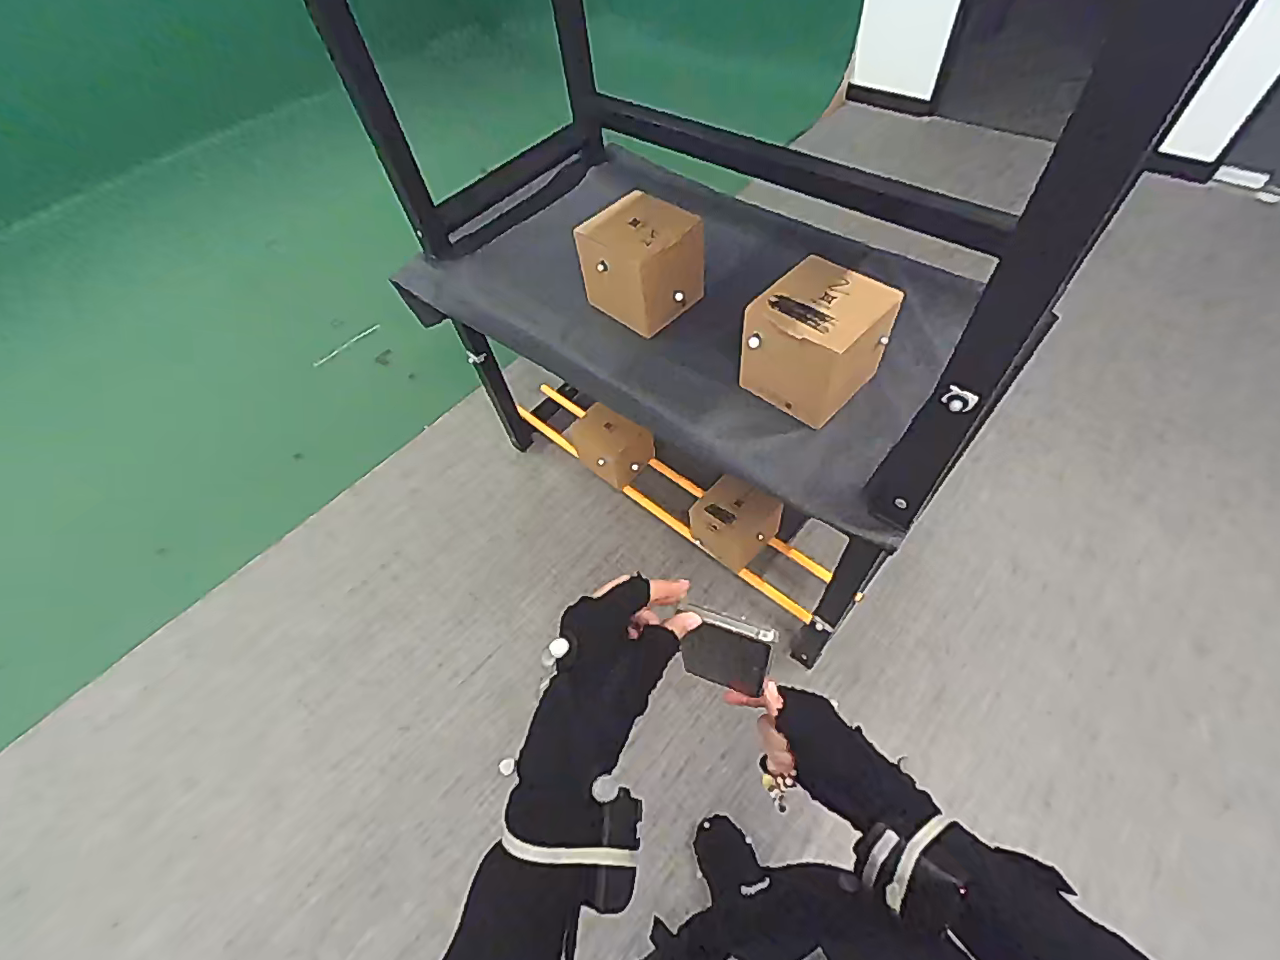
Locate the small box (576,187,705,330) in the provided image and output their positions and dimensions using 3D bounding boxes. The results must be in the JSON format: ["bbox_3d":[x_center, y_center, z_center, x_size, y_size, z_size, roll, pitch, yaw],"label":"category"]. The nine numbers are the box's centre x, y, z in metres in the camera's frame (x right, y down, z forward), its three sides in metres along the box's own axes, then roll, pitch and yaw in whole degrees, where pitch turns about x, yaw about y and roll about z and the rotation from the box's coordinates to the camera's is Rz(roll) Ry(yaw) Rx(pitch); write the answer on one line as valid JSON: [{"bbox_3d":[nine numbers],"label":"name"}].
[{"bbox_3d":[0.006,-0.418,1.033,0.168,0.176,0.179,-42,62,-19],"label":"small box"}]

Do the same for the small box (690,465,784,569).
[{"bbox_3d":[0.252,0.102,1.409,0.179,0.176,0.168,-42,62,-19],"label":"small box"}]
